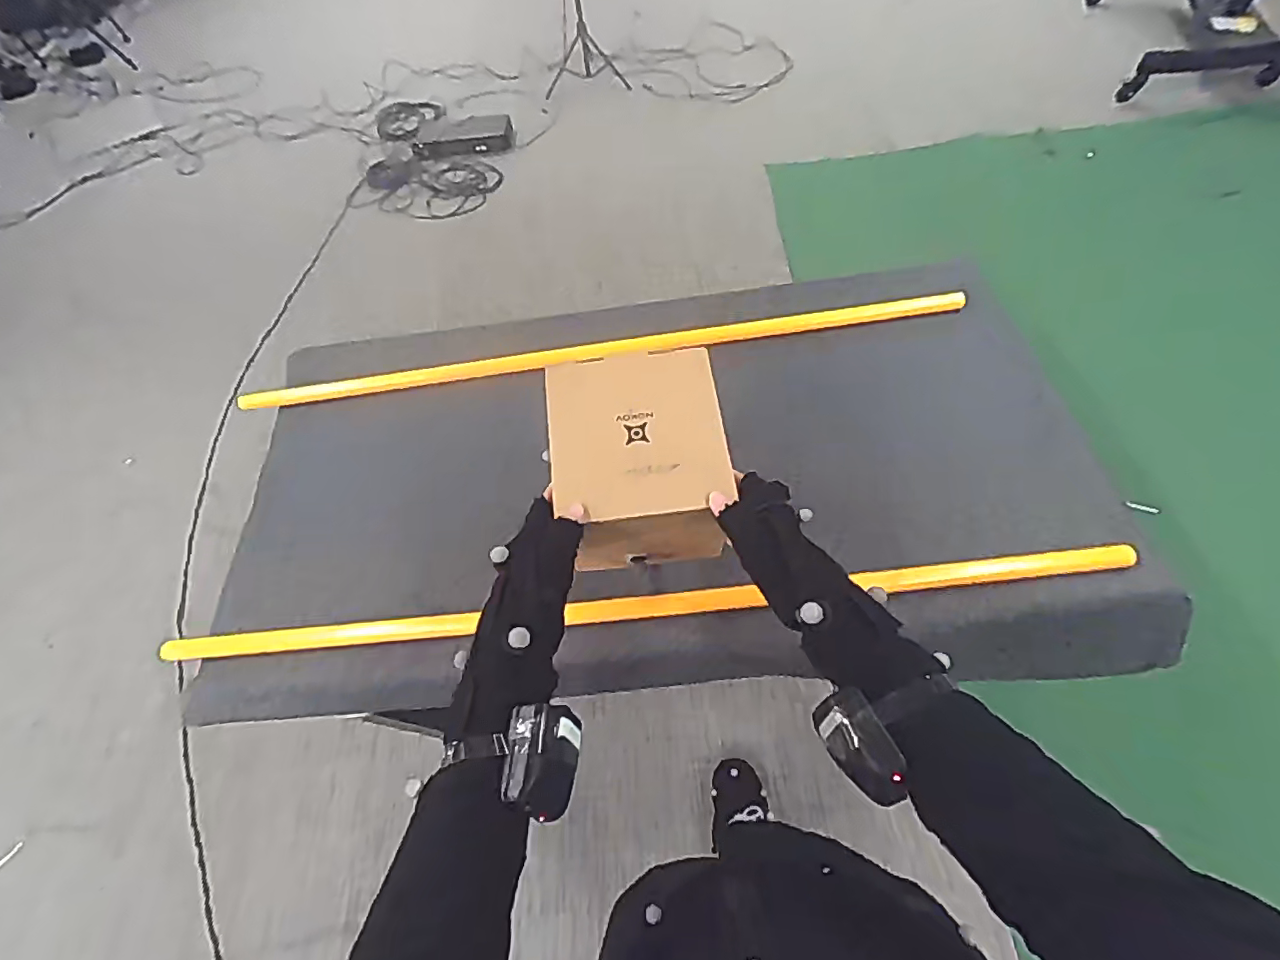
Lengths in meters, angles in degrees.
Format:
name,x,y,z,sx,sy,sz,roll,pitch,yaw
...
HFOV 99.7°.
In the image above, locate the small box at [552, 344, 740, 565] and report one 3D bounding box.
name,x,y,z,sx,sy,sz,roll,pitch,yaw
small box,0.003,-0.020,0.593,0.168,0.176,0.179,-8,67,0
